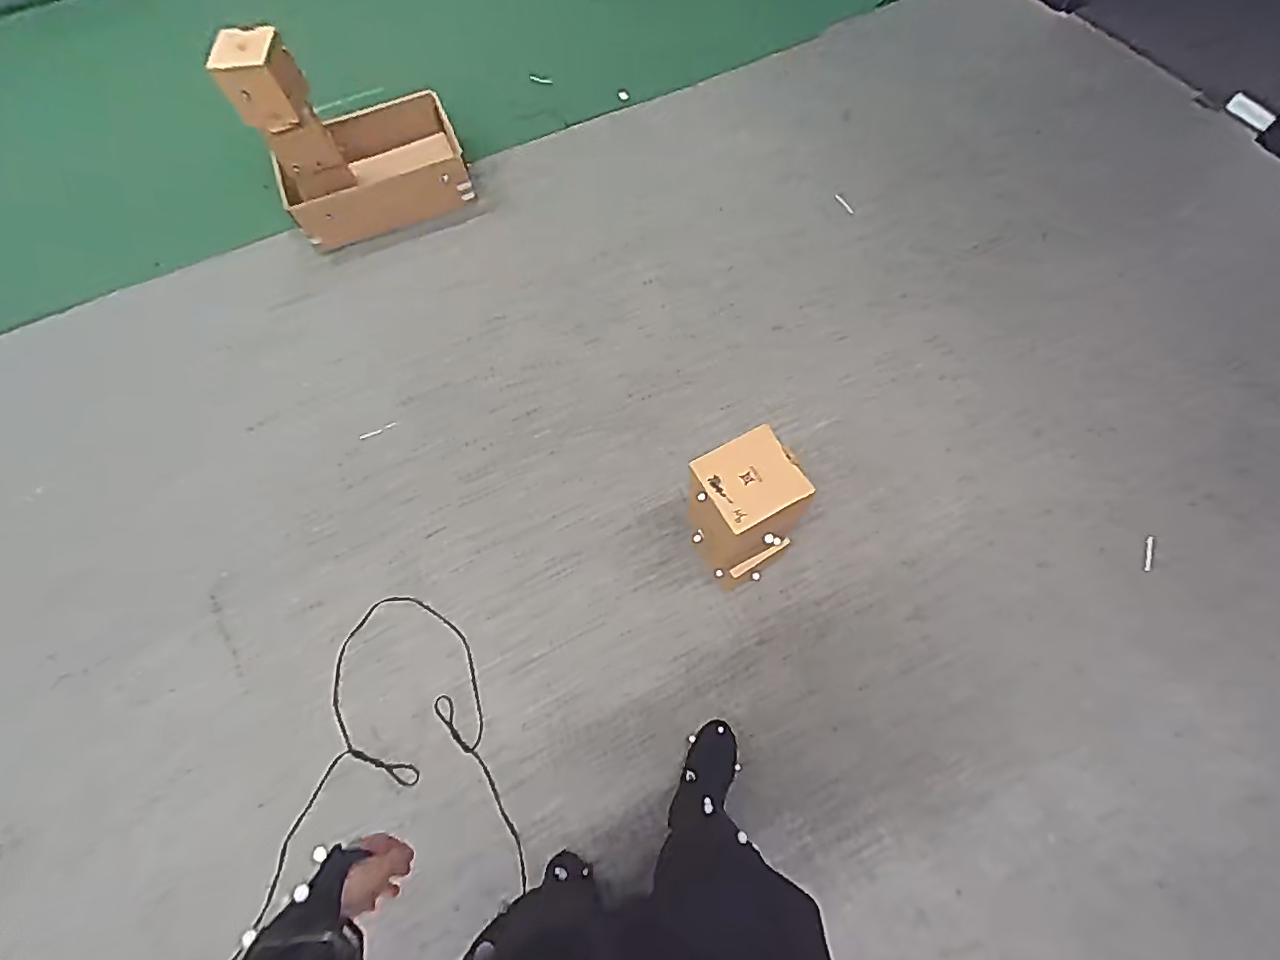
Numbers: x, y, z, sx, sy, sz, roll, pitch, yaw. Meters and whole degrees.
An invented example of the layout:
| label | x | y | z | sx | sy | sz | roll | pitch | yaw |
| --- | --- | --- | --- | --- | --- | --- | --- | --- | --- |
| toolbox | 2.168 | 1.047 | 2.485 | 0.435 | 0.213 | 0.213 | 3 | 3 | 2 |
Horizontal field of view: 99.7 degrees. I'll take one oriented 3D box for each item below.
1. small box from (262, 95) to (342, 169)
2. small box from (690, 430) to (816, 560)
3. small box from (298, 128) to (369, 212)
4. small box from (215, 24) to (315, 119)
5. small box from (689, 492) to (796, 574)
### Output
| label | x | y | z | sx | sy | sz | roll | pitch | yaw |
| --- | --- | --- | --- | --- | --- | --- | --- | --- | --- |
| small box | -1.102 | -1.146 | 1.758 | 0.168 | 0.176 | 0.179 | -23 | 67 | -9 |
| small box | 0.212 | 0.034 | 1.074 | 0.179 | 0.176 | 0.168 | -26 | 67 | -9 |
| small box | -1.095 | -1.092 | 1.913 | 0.168 | 0.176 | 0.179 | -25 | 68 | -8 |
| small box | -1.102 | -1.205 | 1.606 | 0.168 | 0.176 | 0.179 | -3 | 66 | 0 |
| small box | 0.221 | 0.092 | 1.228 | 0.179 | 0.176 | 0.168 | -27 | 67 | -8 |
